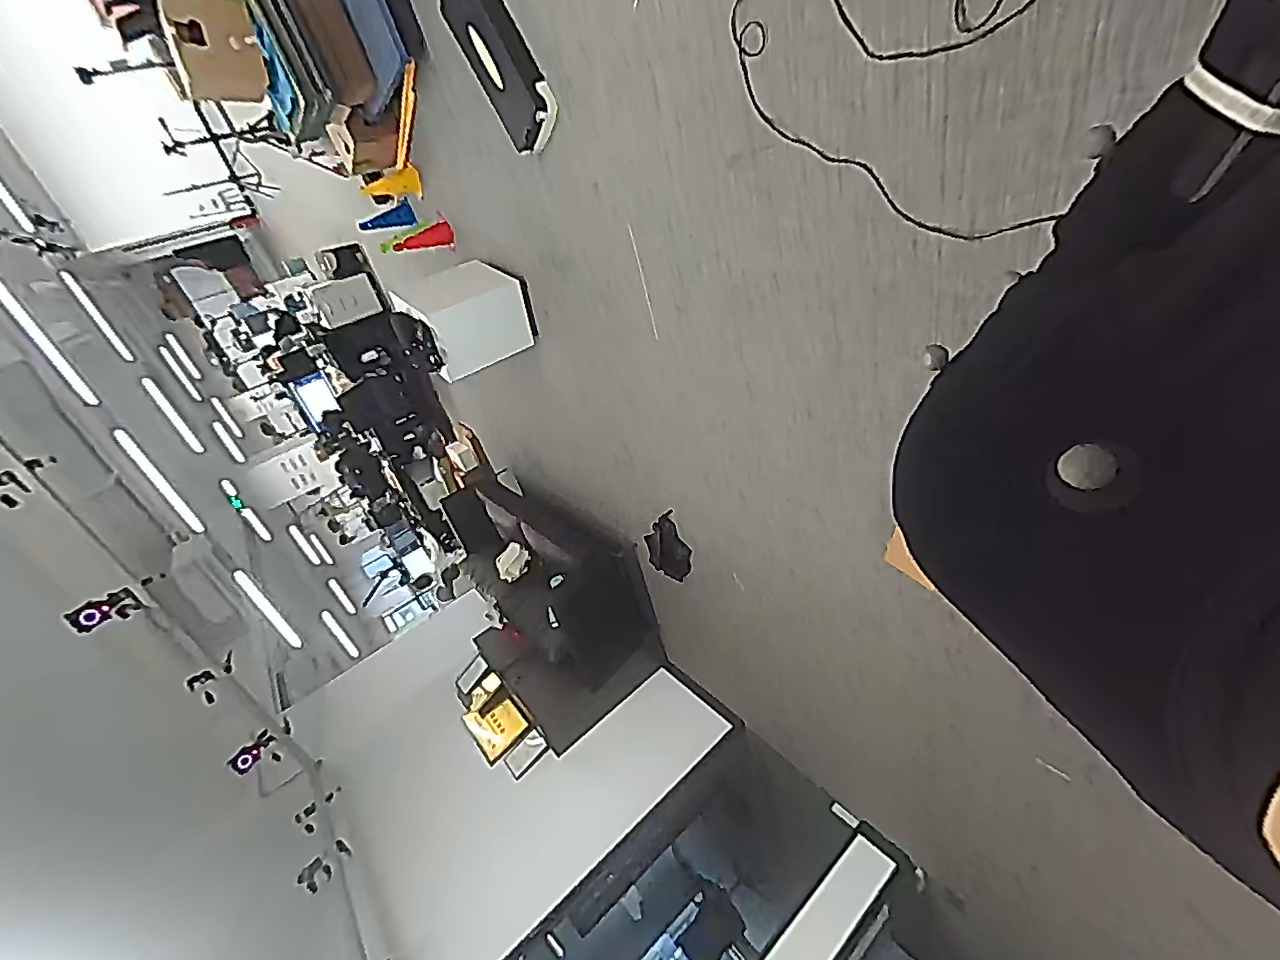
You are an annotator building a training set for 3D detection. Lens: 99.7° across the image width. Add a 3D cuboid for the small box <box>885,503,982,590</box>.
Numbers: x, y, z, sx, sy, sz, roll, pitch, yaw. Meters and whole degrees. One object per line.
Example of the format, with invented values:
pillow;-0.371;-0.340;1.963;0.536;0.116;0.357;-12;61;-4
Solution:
small box;0.890;0.193;1.644;0.179;0.176;0.168;38;149;34
